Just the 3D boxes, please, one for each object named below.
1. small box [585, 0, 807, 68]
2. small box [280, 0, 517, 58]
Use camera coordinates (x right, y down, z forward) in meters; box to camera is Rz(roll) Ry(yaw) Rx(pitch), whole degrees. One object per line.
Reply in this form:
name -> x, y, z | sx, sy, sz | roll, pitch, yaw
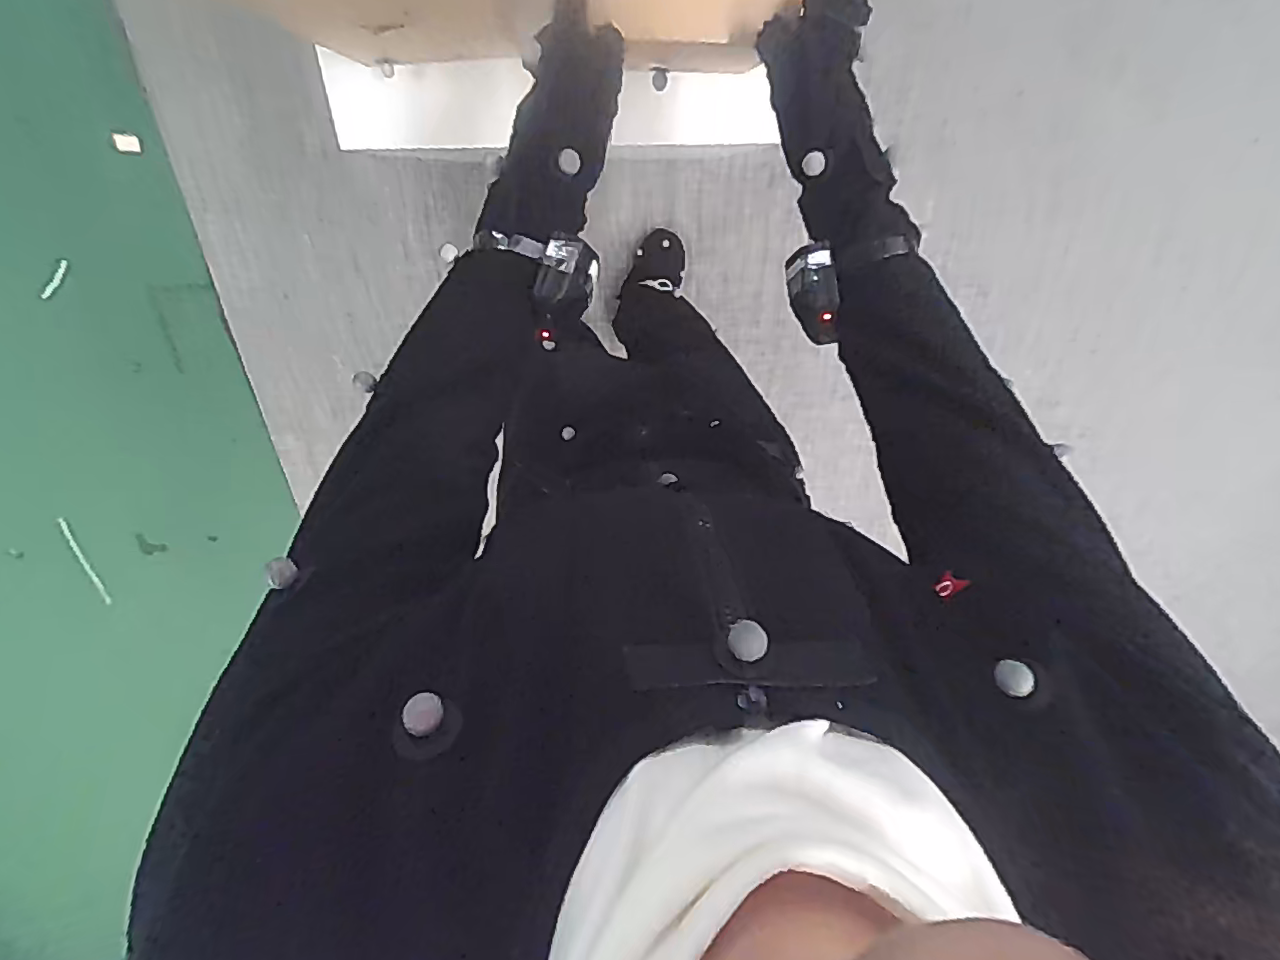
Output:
small box -> 0.037, -0.450, 0.429 | 0.168, 0.176, 0.179 | -2, 122, -3
small box -> -0.209, -0.480, 0.457 | 0.168, 0.176, 0.179 | -4, 119, 0
